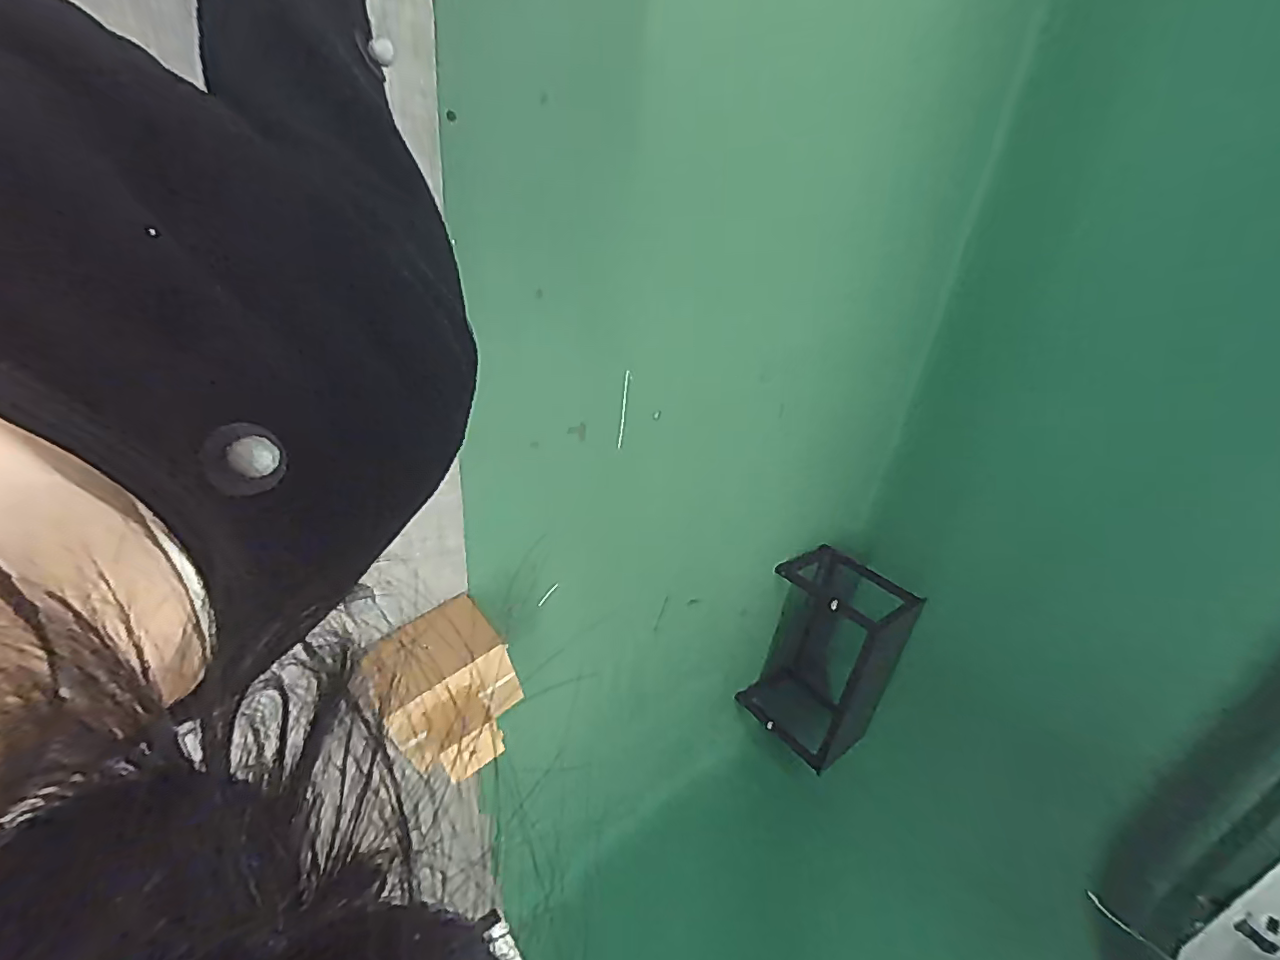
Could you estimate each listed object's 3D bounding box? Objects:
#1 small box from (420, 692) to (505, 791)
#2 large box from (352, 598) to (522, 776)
[{"bbox_3d":[-0.543,0.791,1.654,0.179,0.176,0.168,-26,128,-30],"label":"small box"},{"bbox_3d":[-0.677,0.681,1.830,0.408,0.320,0.320,-30,133,-29],"label":"large box"}]
